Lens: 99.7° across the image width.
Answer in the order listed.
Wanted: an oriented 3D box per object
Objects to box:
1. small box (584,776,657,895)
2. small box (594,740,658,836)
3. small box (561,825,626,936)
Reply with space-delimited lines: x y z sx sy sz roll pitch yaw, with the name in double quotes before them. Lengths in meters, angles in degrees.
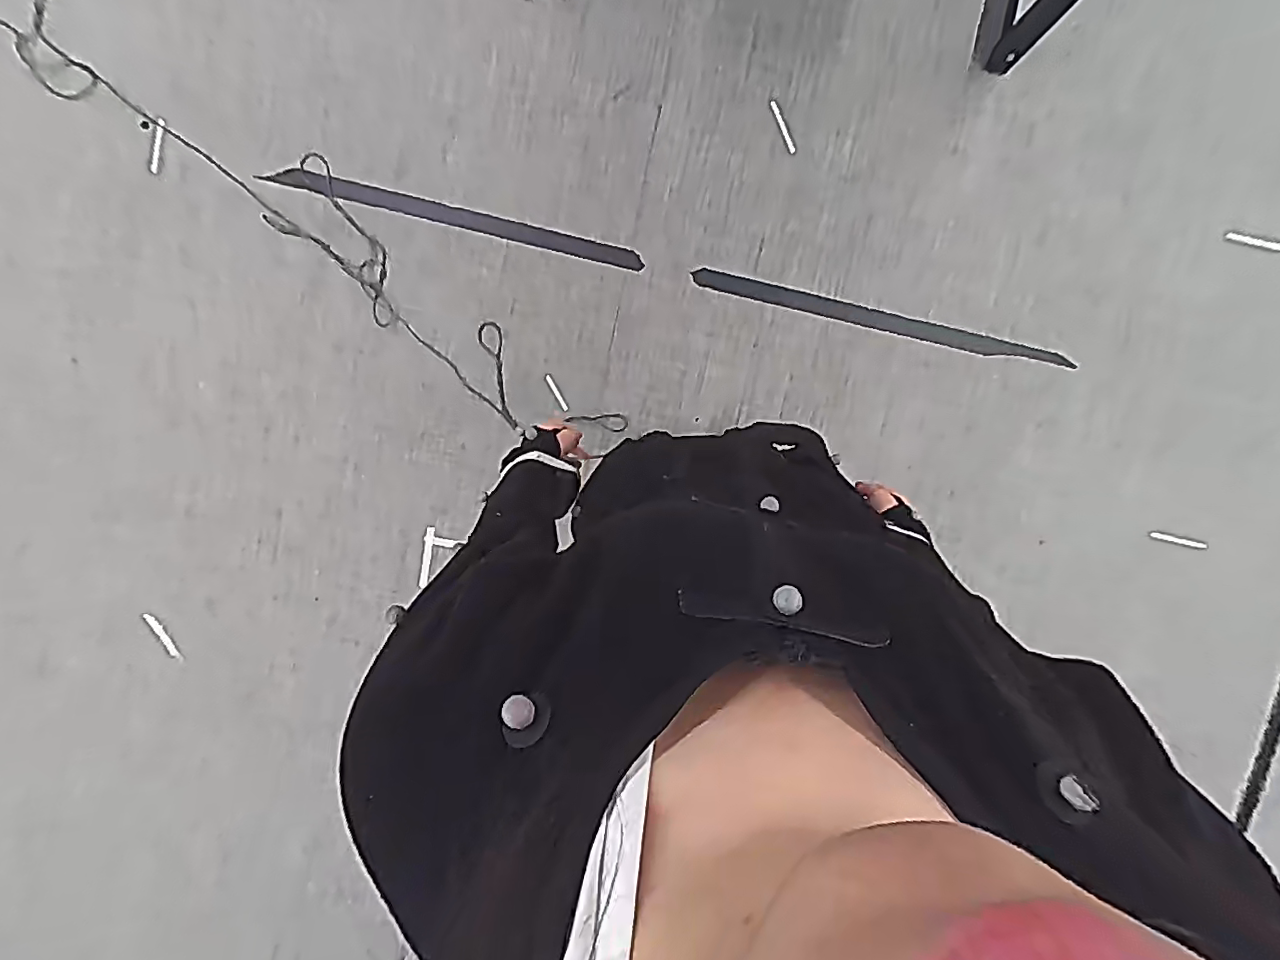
"small box" -0.044 0.843 1.291 0.168 0.176 0.179 -1 95 -2
"small box" -0.037 0.823 1.455 0.168 0.176 0.179 -1 94 0
"small box" -0.118 1.091 1.480 0.168 0.176 0.179 3 95 -1
